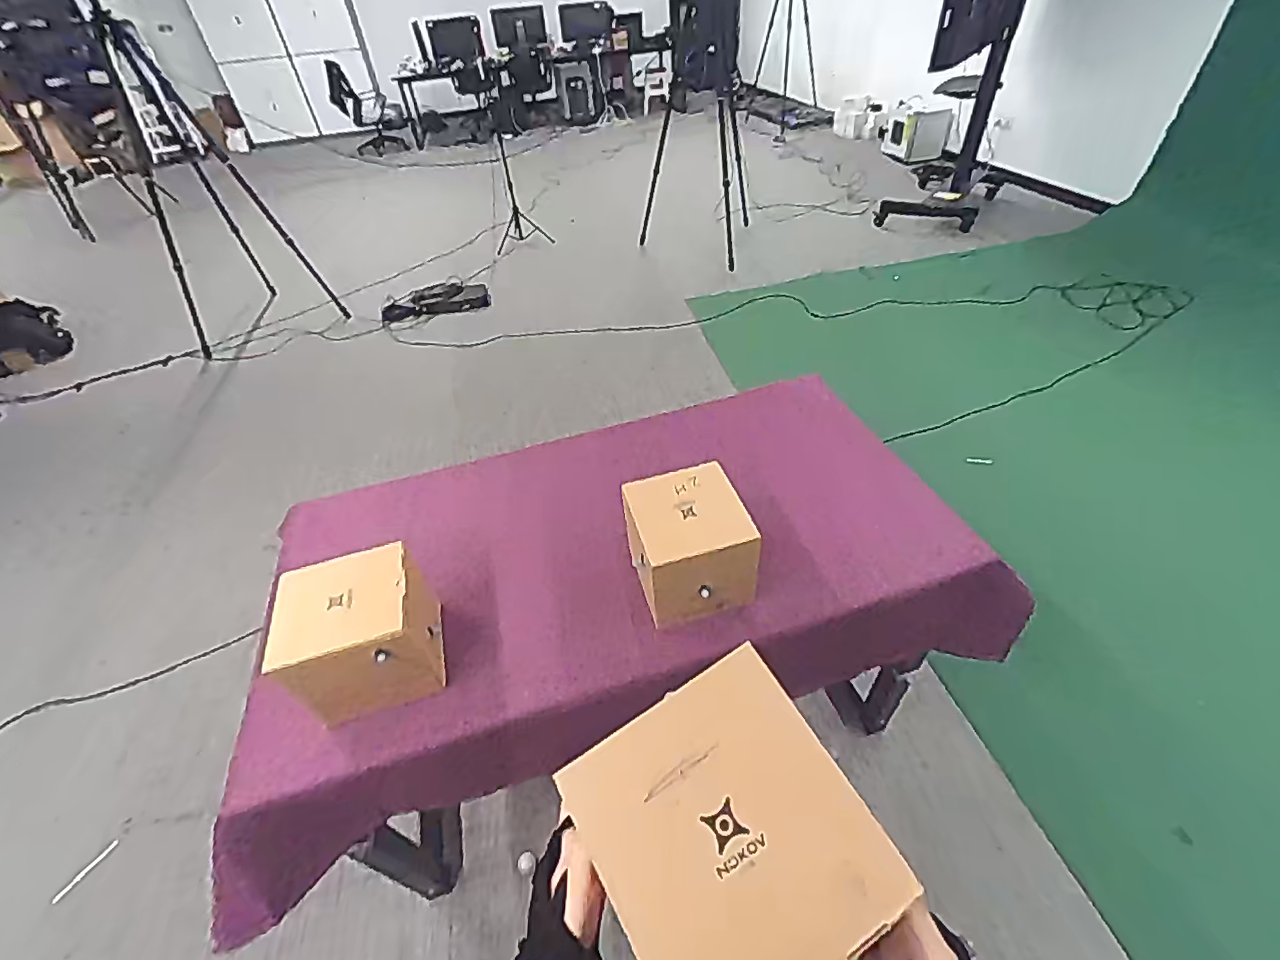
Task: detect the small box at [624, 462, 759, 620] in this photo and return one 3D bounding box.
[{"bbox_3d":[0.080,0.104,0.871,0.168,0.176,0.179,-14,43,-8],"label":"small box"}]

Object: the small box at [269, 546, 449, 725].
[{"bbox_3d":[-0.401,0.232,0.803,0.179,0.176,0.168,-16,43,-11],"label":"small box"}]
